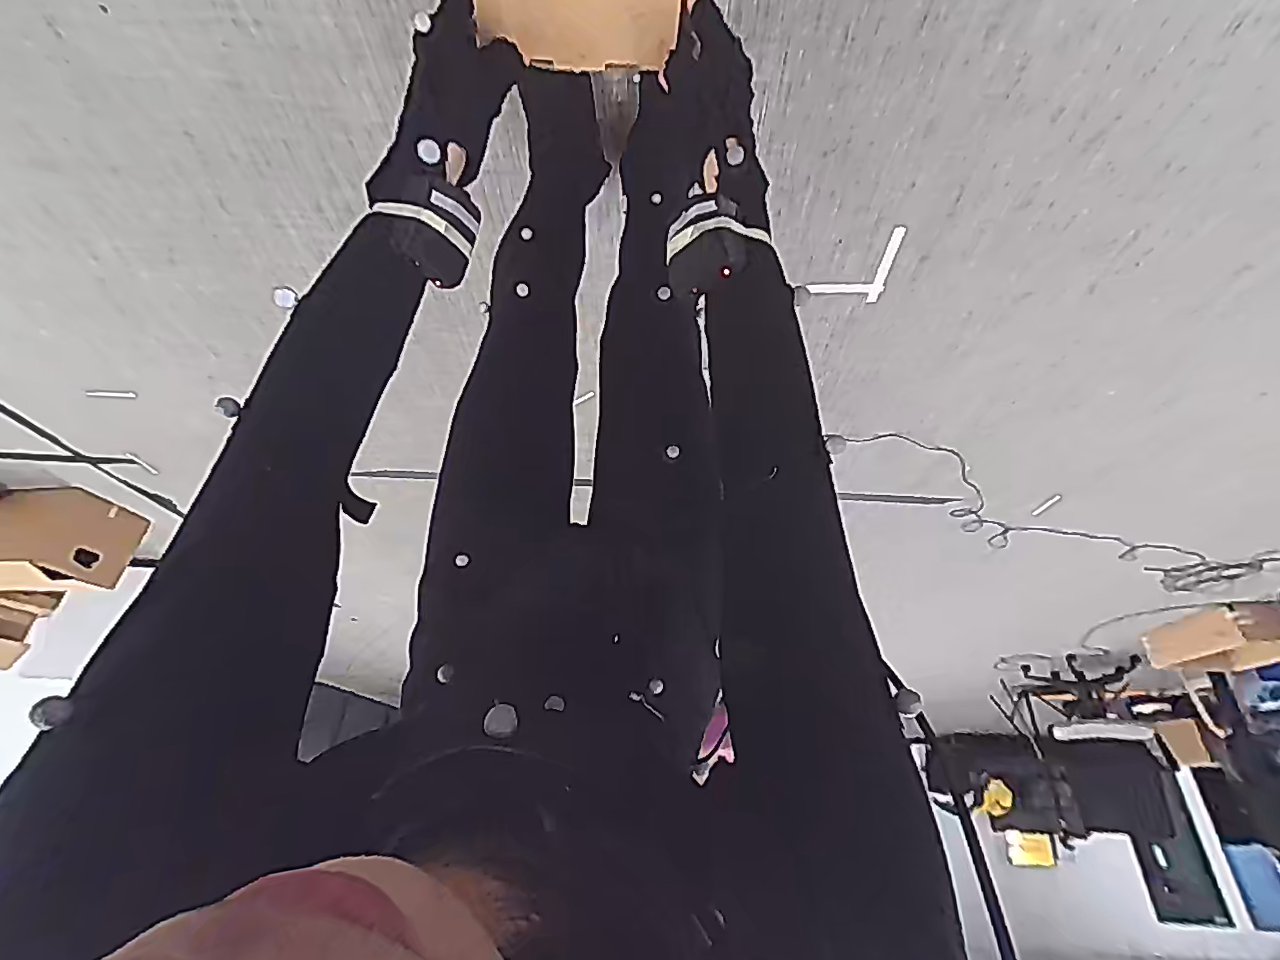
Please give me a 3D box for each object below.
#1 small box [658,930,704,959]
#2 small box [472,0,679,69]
[{"bbox_3d":[0.157,1.867,2.089,0.179,0.176,0.168,1,148,4],"label":"small box"},{"bbox_3d":[-0.050,-0.468,0.430,0.168,0.176,0.179,-1,147,-5],"label":"small box"}]
